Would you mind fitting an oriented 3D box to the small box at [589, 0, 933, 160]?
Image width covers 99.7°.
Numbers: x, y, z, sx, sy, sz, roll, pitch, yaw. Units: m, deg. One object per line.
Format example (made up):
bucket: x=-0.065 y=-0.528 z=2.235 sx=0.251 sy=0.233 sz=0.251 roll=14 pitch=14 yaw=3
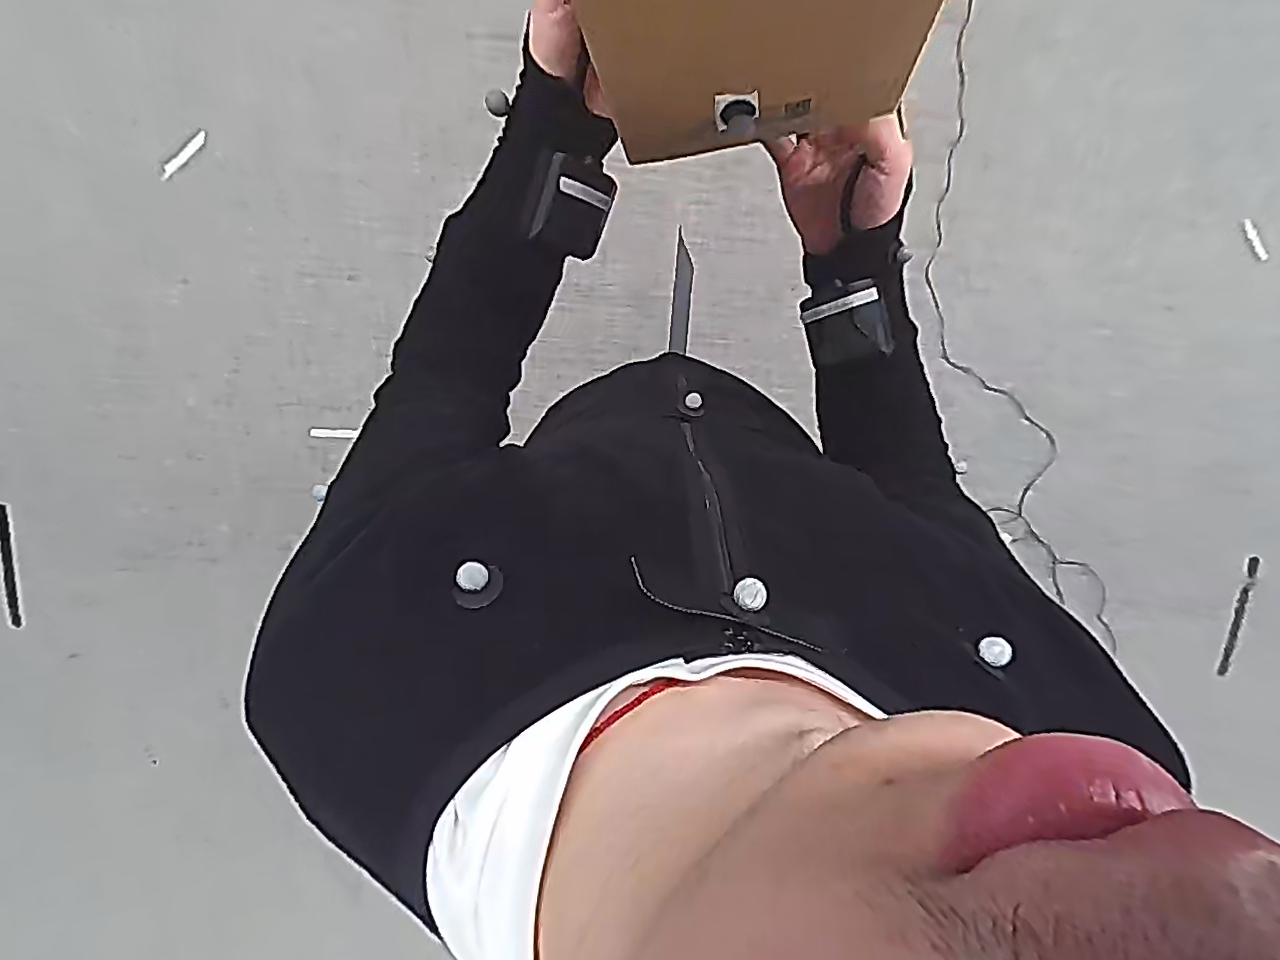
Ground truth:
small box: x=0.051 y=-0.304 z=0.268 sx=0.168 sy=0.176 sz=0.179 roll=-7 pitch=91 yaw=11
